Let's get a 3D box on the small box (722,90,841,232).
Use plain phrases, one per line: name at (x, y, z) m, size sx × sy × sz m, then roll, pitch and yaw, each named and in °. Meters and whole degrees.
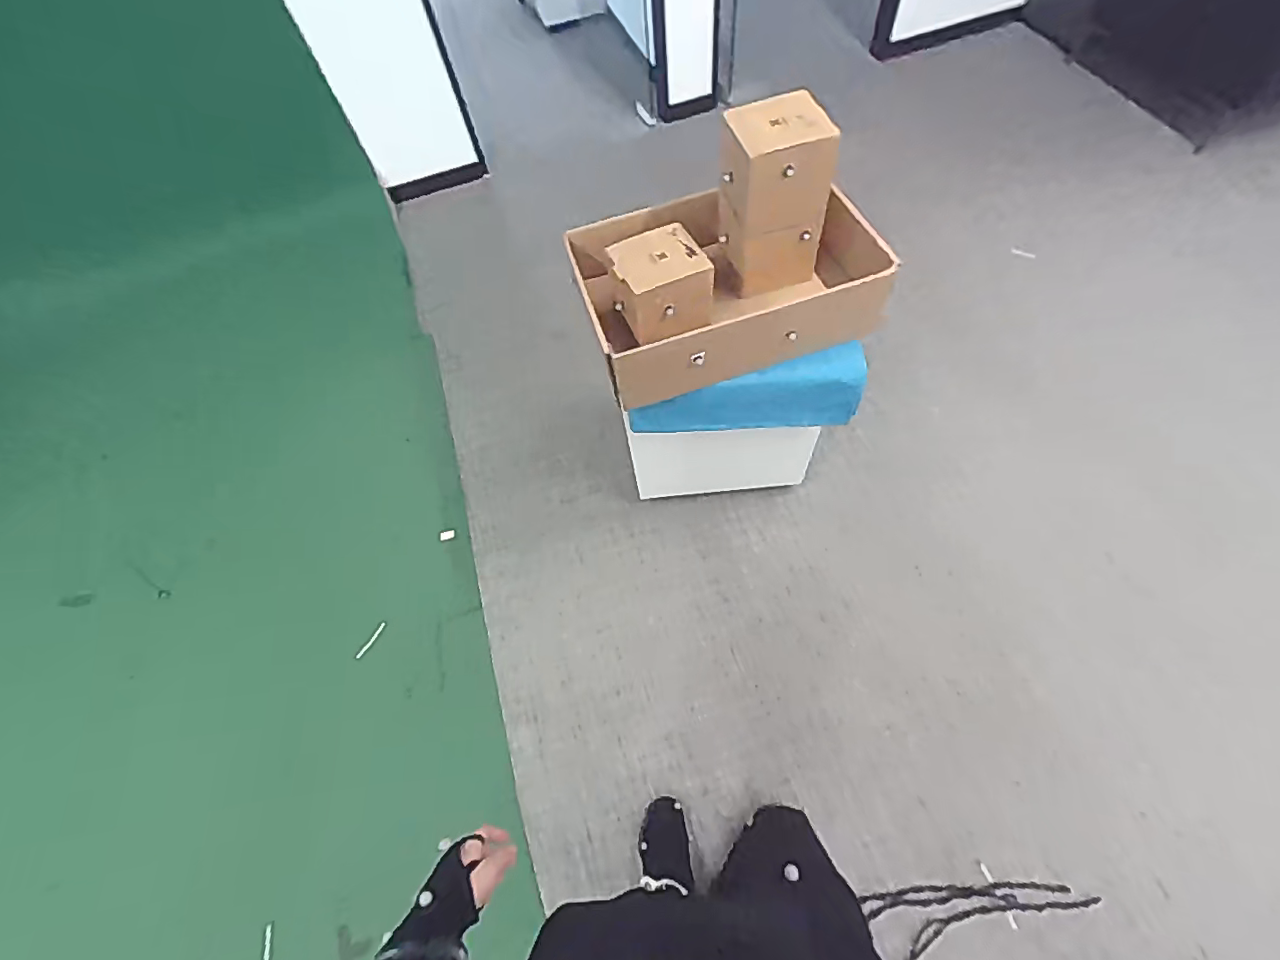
small box at (0.268, -0.623, 1.071) m, size 0.179 × 0.176 × 0.168 m, roll -15°, pitch 61°, yaw -2°
